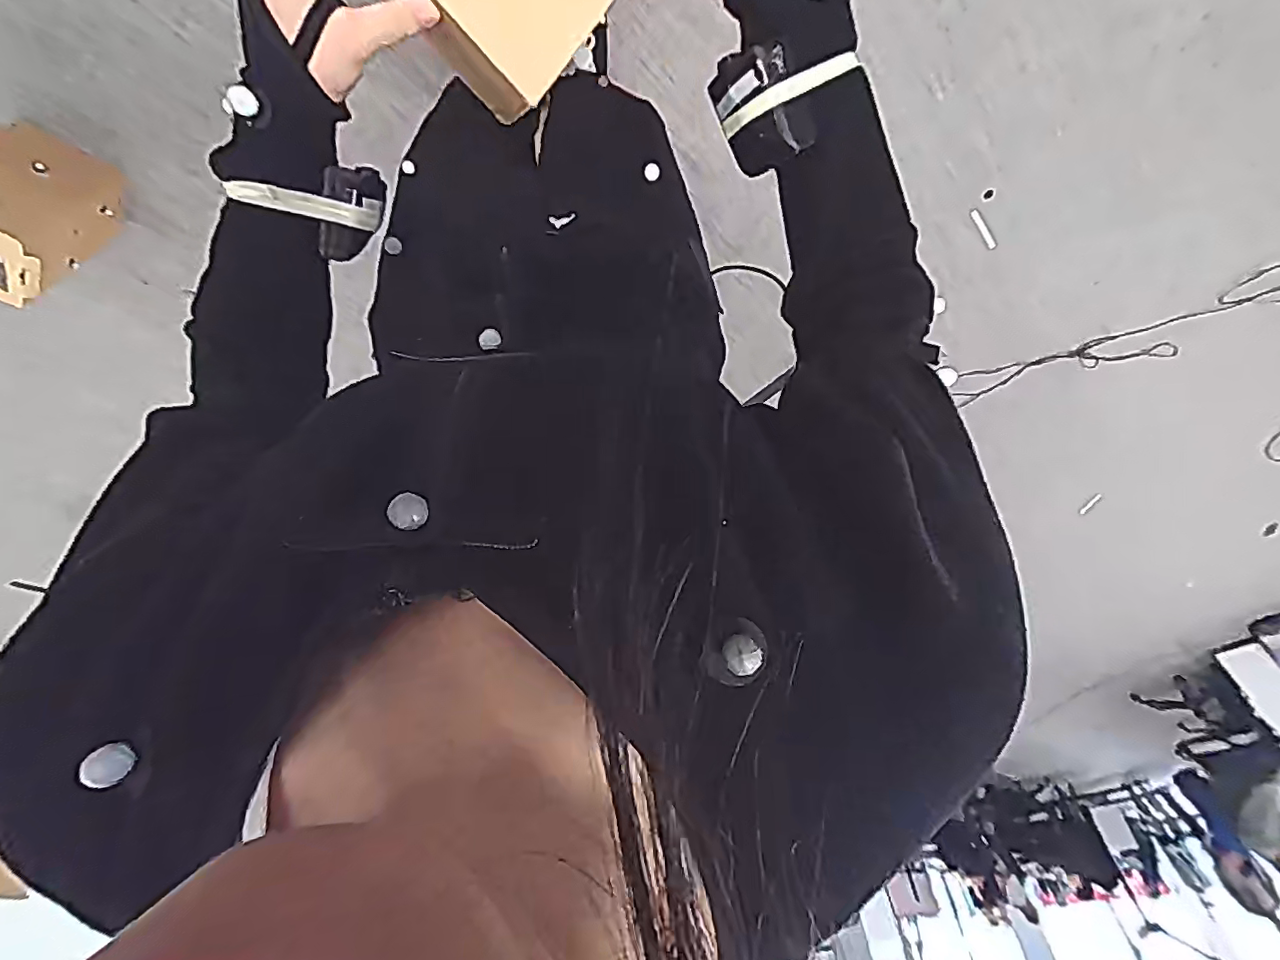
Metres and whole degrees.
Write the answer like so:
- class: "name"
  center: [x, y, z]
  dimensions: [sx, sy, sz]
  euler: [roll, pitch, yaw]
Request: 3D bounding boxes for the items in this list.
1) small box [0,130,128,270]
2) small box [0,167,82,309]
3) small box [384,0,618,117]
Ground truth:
- class: "small box"
  center: [-1.215, -0.581, 1.117]
  dimensions: [0.179, 0.176, 0.168]
  euler: [26, 128, -29]
- class: "small box"
  center: [-1.199, -0.462, 1.004]
  dimensions: [0.179, 0.176, 0.168]
  euler: [27, 128, -30]
- class: "small box"
  center: [-0.093, -0.364, 0.339]
  dimensions: [0.179, 0.176, 0.168]
  euler: [36, 102, -29]
